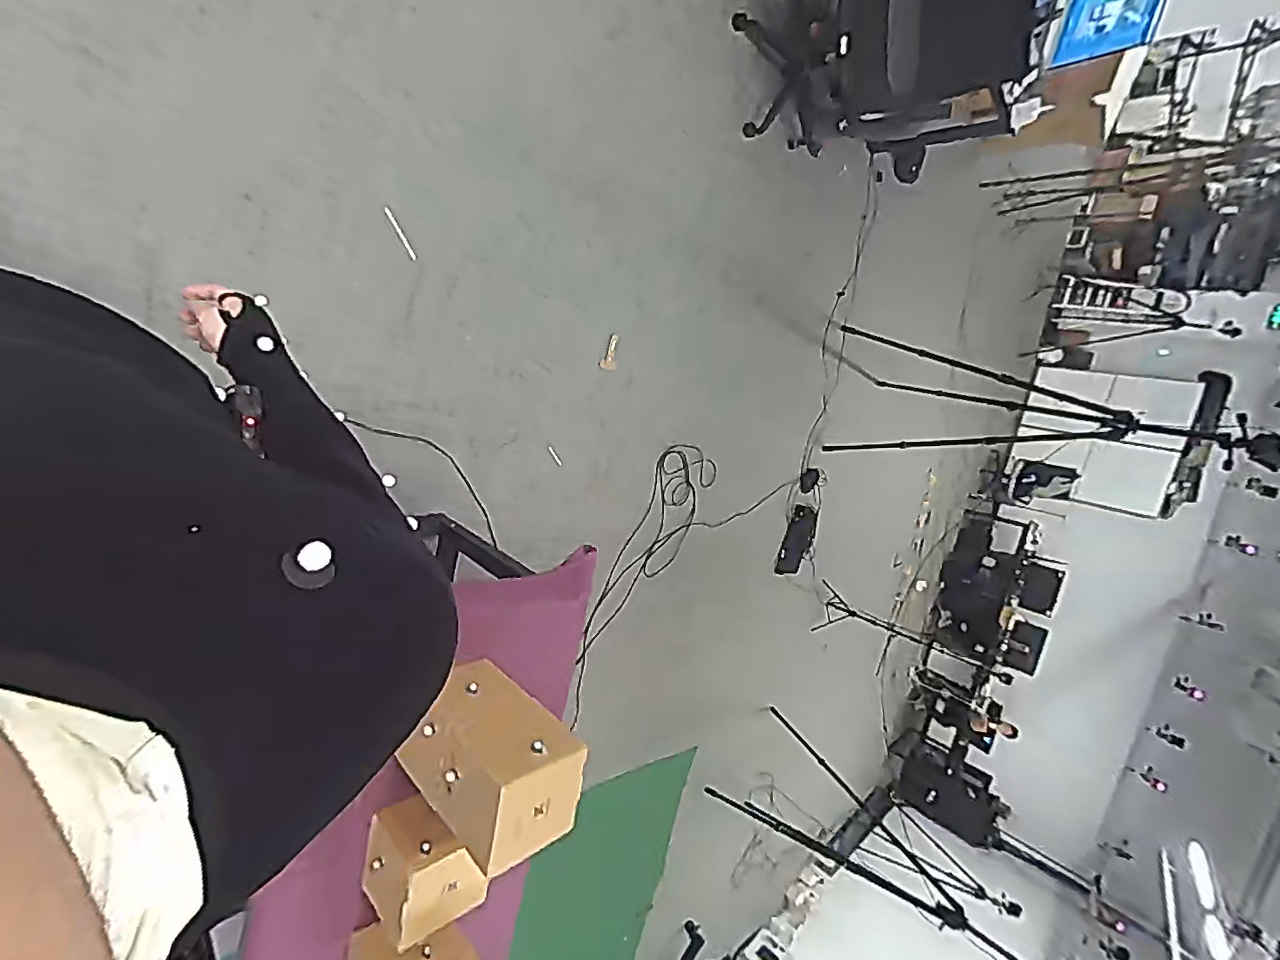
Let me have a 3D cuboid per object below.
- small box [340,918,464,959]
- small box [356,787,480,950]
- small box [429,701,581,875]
[{"bbox_3d":[-0.486,0.995,1.089,0.179,0.176,0.168,2,103,-48],"label":"small box"},{"bbox_3d":[-0.427,0.737,1.059,0.179,0.176,0.168,3,102,-48],"label":"small box"},{"bbox_3d":[-0.232,0.510,0.931,0.179,0.176,0.168,2,103,-49],"label":"small box"}]
